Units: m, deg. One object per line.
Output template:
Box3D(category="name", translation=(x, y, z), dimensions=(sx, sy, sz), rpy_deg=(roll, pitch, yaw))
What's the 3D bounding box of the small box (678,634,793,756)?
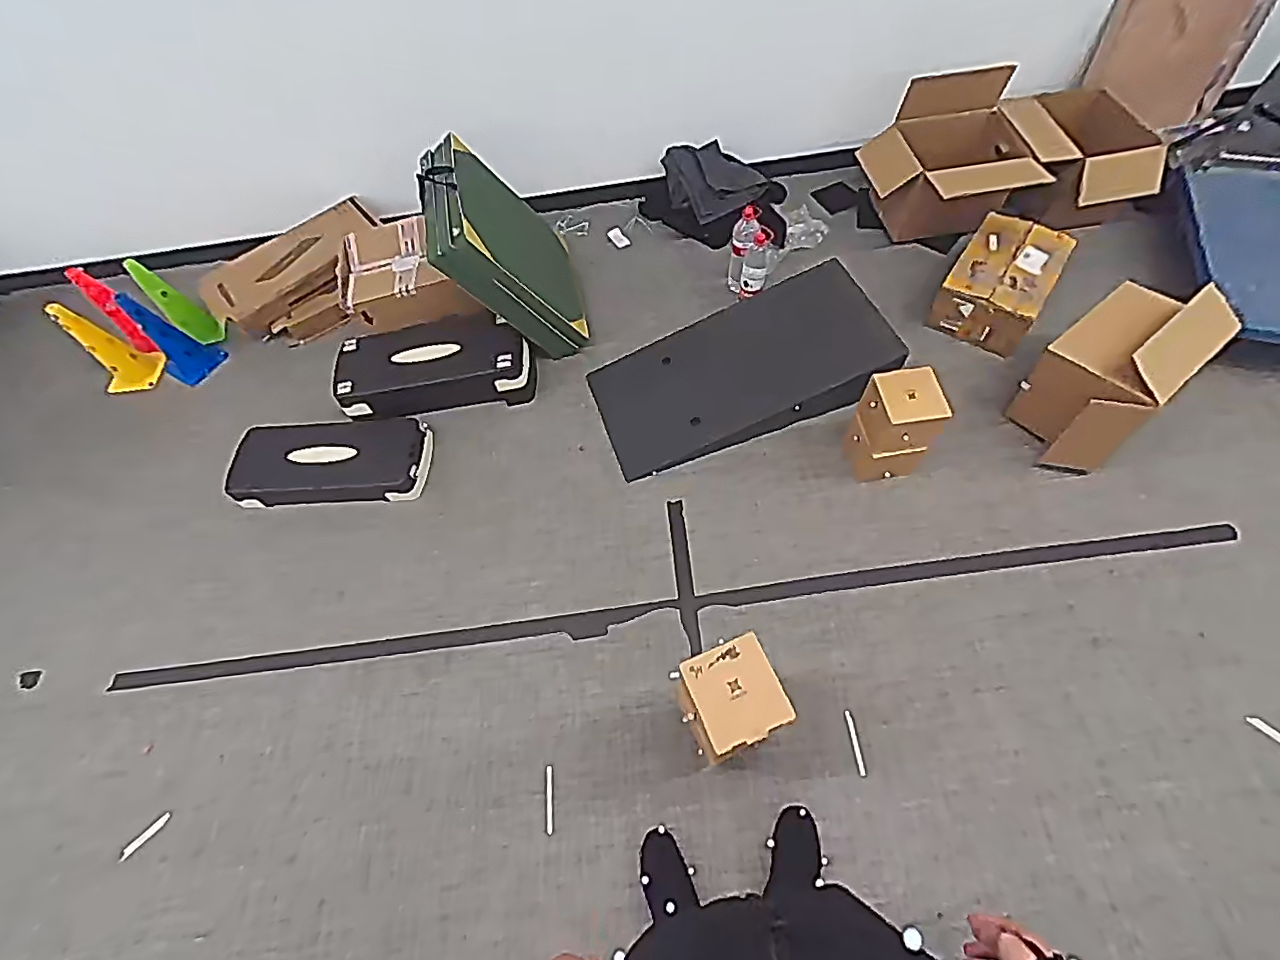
Box3D(category="small box", translation=(0.186, 0.438, 1.097), dimensions=(0.168, 0.176, 0.179), rpy_deg=(-22, 63, -6))
